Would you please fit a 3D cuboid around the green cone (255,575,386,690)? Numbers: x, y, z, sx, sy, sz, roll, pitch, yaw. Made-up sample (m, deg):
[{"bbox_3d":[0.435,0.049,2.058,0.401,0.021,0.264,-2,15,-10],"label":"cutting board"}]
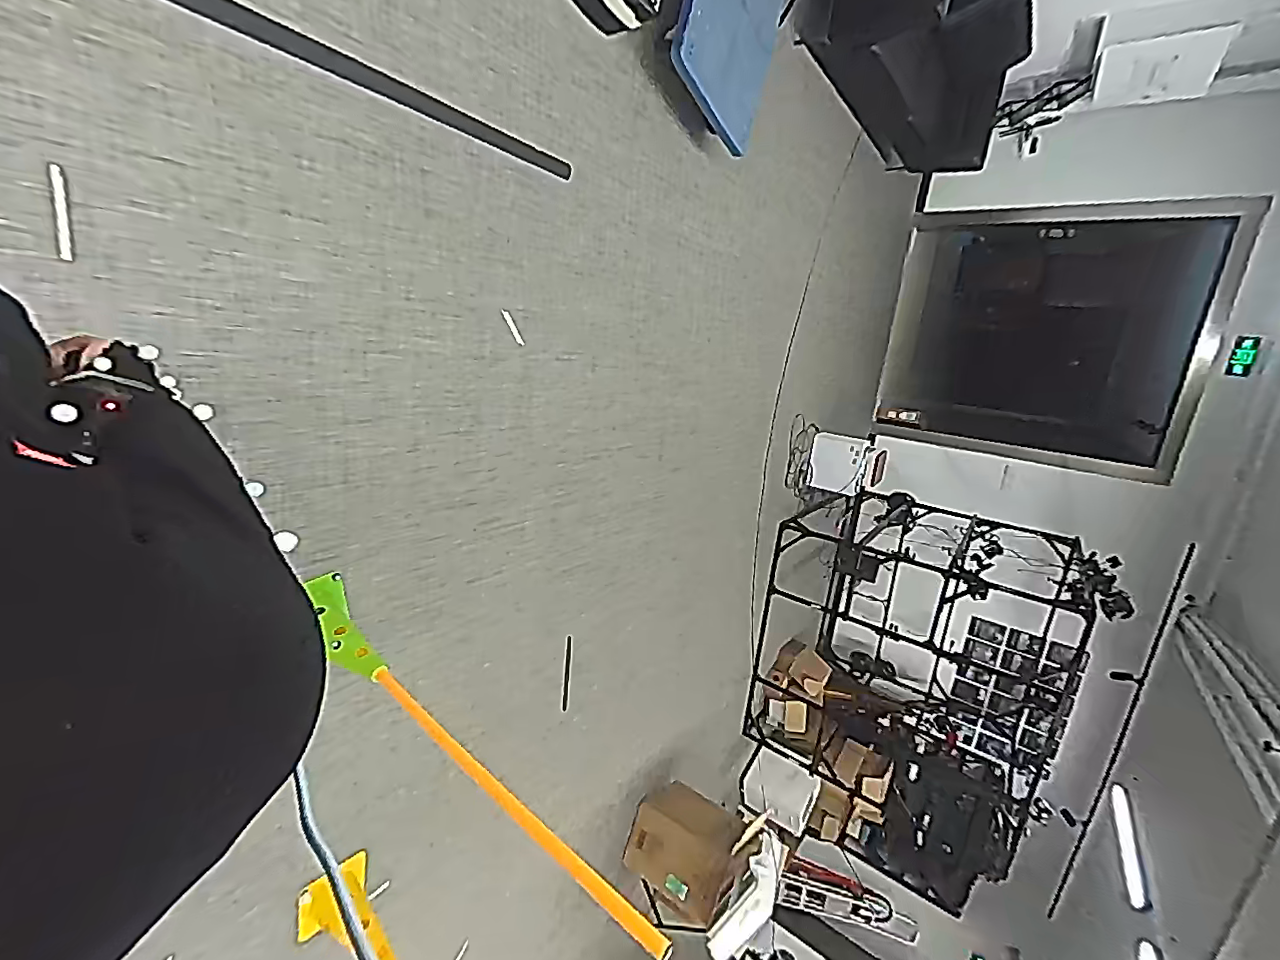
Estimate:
[{"bbox_3d":[-0.739,0.408,1.314,0.200,0.368,0.202,-26,126,-48],"label":"green cone"}]
